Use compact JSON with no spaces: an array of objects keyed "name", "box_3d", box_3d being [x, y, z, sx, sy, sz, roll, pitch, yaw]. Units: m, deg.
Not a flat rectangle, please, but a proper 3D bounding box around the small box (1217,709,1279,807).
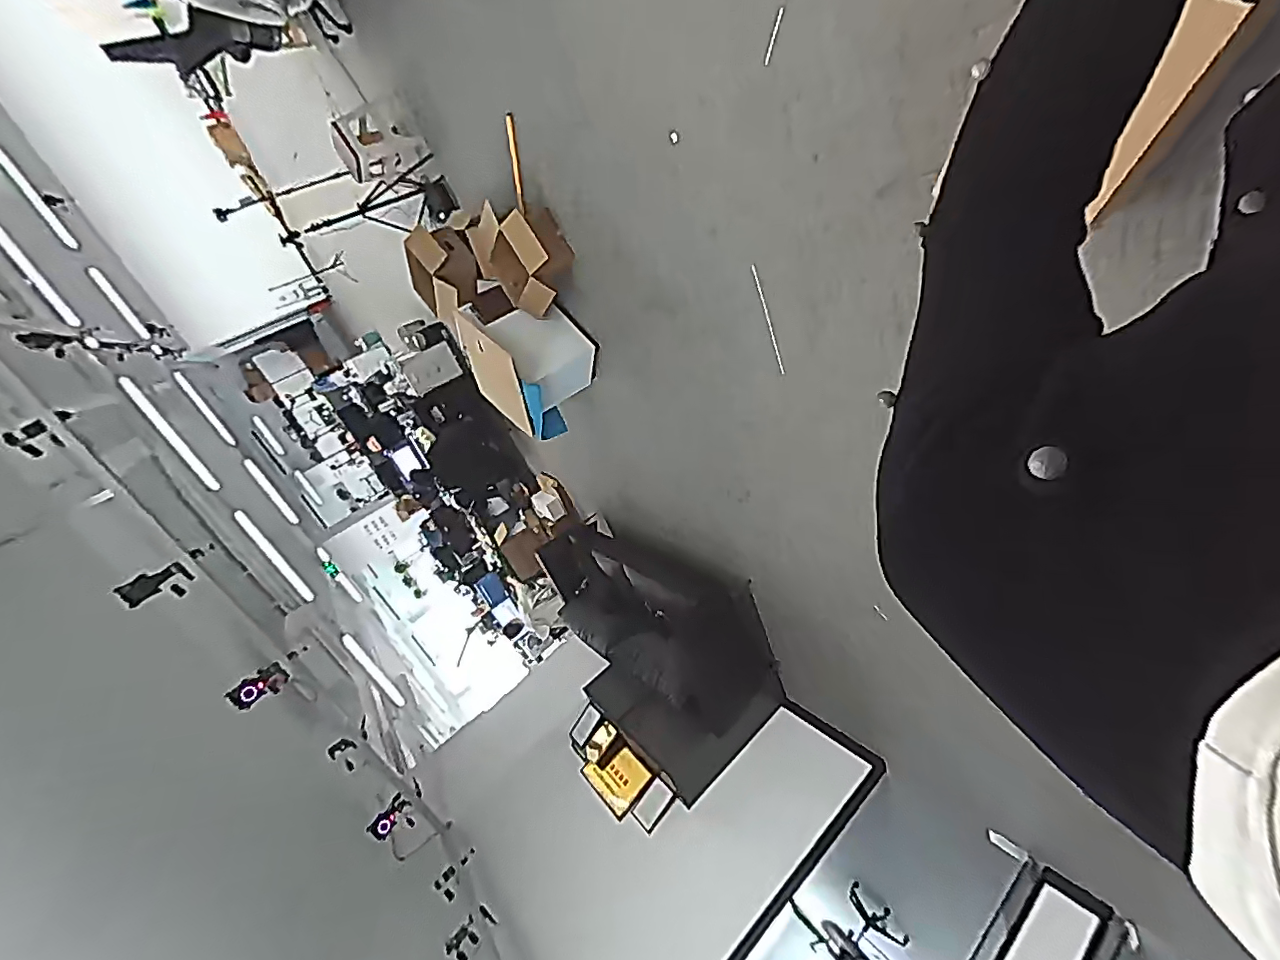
[{"name":"small box","box_3d":[1.747,0.769,1.491,0.179,0.176,0.168,13,133,56]}]
